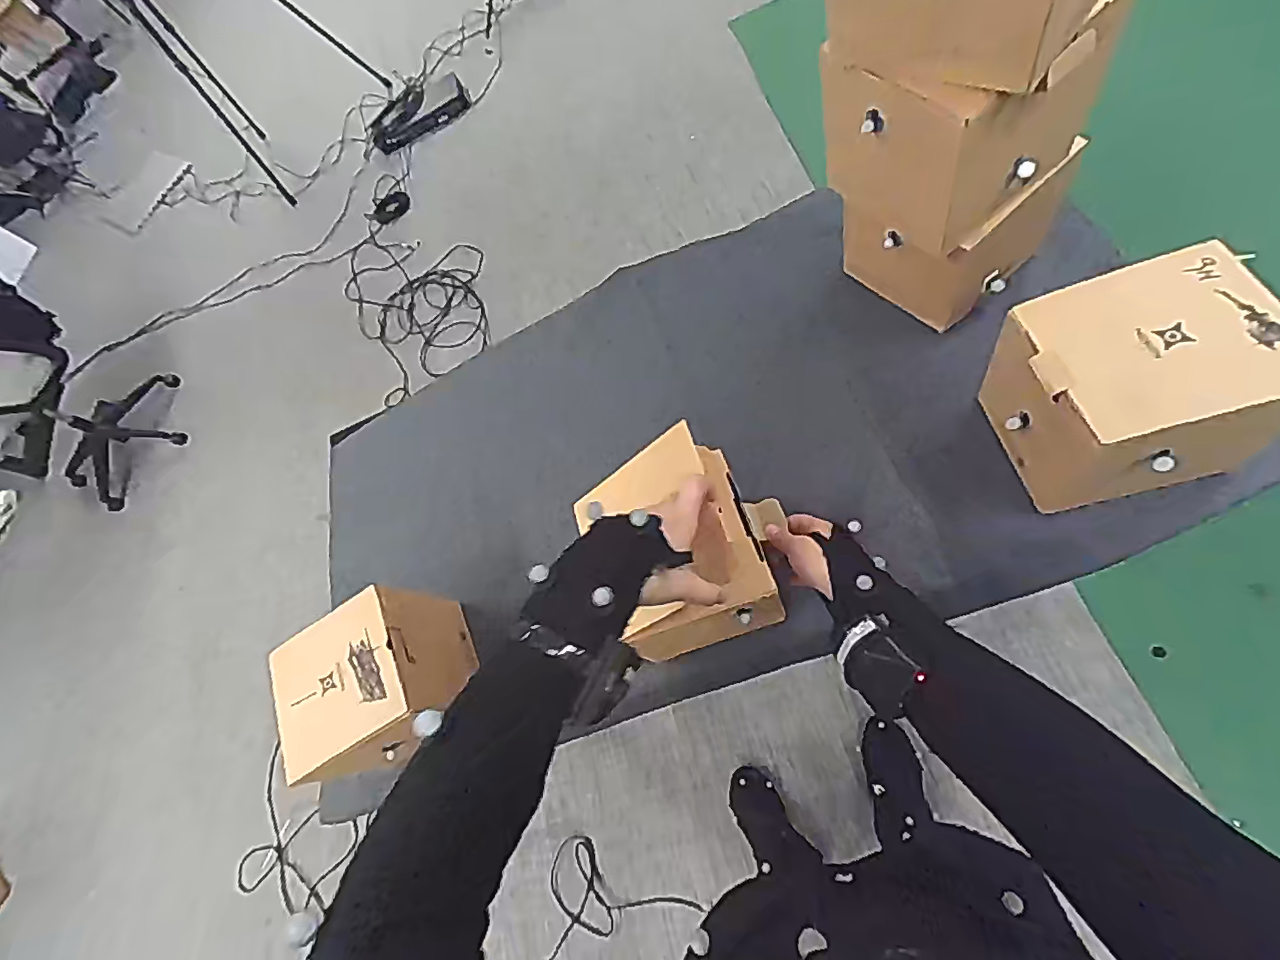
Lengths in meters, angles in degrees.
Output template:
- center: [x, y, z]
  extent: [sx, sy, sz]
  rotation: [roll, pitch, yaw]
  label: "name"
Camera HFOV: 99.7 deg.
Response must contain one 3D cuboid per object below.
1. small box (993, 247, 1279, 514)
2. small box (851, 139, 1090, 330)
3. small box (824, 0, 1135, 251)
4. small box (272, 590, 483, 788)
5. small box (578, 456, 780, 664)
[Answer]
- center: [0.479, -0.083, 0.535]
  extent: [0.179, 0.176, 0.168]
  rotation: [-17, 61, 15]
  label: "small box"
- center: [0.381, -0.320, 0.668]
  extent: [0.168, 0.176, 0.179]
  rotation: [-43, 64, 4]
  label: "small box"
- center: [0.305, -0.364, 0.527]
  extent: [0.168, 0.176, 0.179]
  rotation: [-40, 62, 6]
  label: "small box"
- center: [-0.329, 0.266, 0.706]
  extent: [0.179, 0.176, 0.168]
  rotation: [-32, 63, 7]
  label: "small box"
- center: [0.050, 0.103, 0.625]
  extent: [0.179, 0.176, 0.168]
  rotation: [-20, 62, 7]
  label: "small box"
